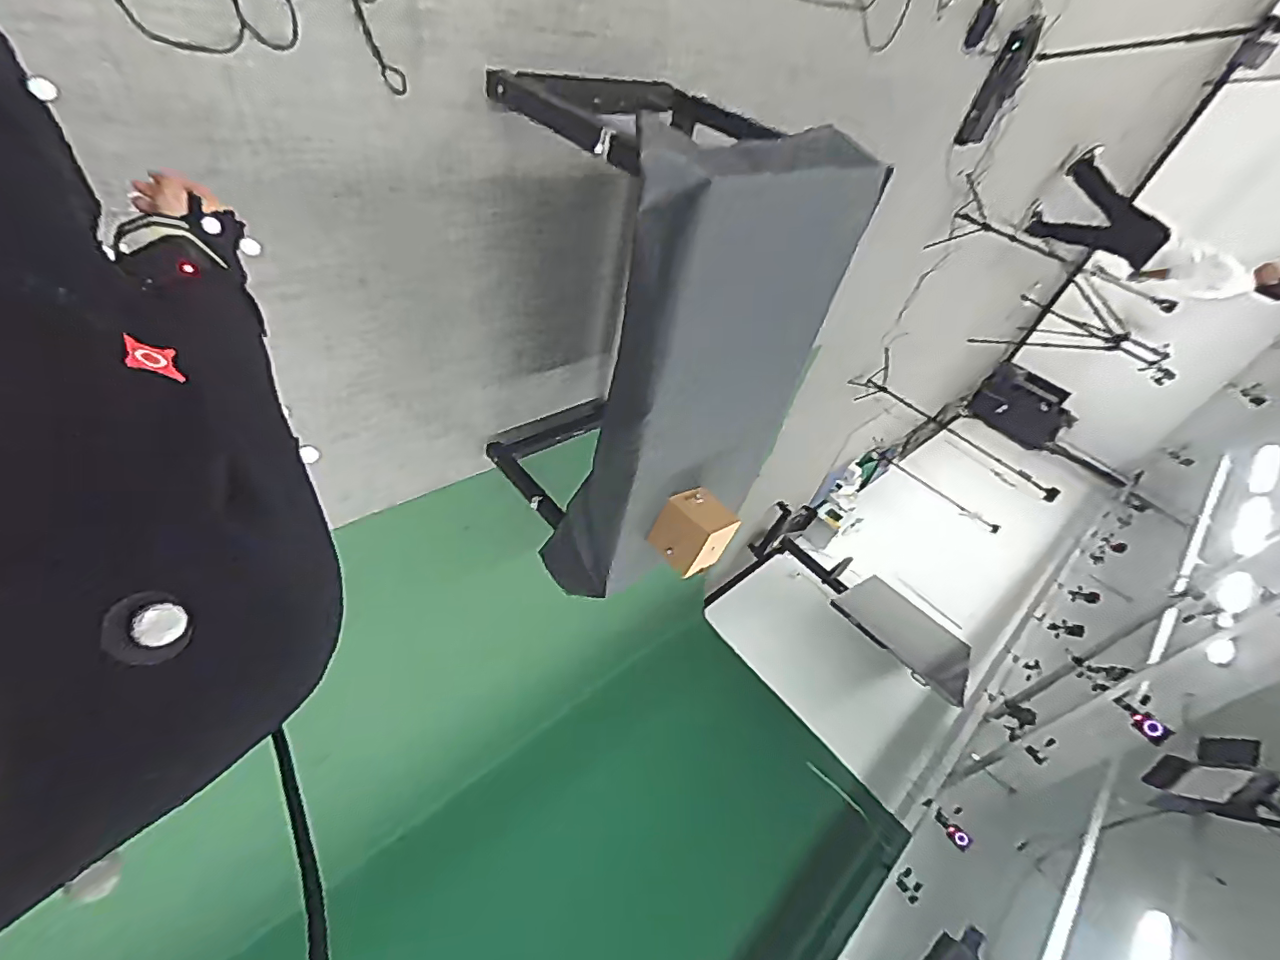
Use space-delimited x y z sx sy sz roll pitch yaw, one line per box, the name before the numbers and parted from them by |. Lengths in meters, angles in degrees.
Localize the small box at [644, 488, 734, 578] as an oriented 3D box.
small box | 0.137 0.149 1.585 0.168 0.176 0.179 -16 139 -48
